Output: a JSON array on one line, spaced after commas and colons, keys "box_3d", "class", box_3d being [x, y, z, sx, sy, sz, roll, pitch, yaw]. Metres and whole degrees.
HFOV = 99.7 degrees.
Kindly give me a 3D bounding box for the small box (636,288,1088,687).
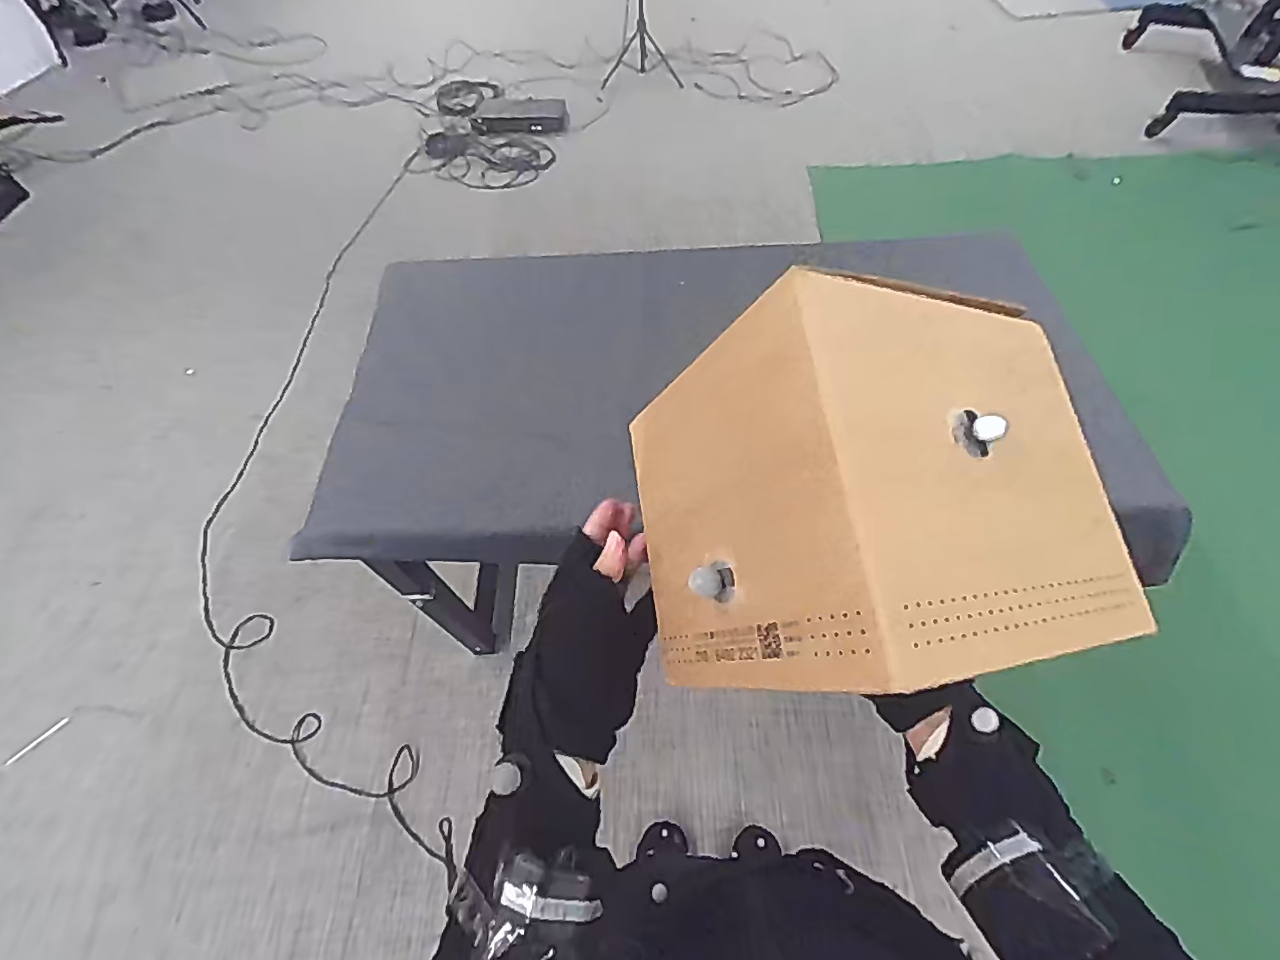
[{"box_3d": [0.115, 0.018, 0.319, 0.179, 0.168, 0.176, 0, 72, -26], "class": "small box"}]
